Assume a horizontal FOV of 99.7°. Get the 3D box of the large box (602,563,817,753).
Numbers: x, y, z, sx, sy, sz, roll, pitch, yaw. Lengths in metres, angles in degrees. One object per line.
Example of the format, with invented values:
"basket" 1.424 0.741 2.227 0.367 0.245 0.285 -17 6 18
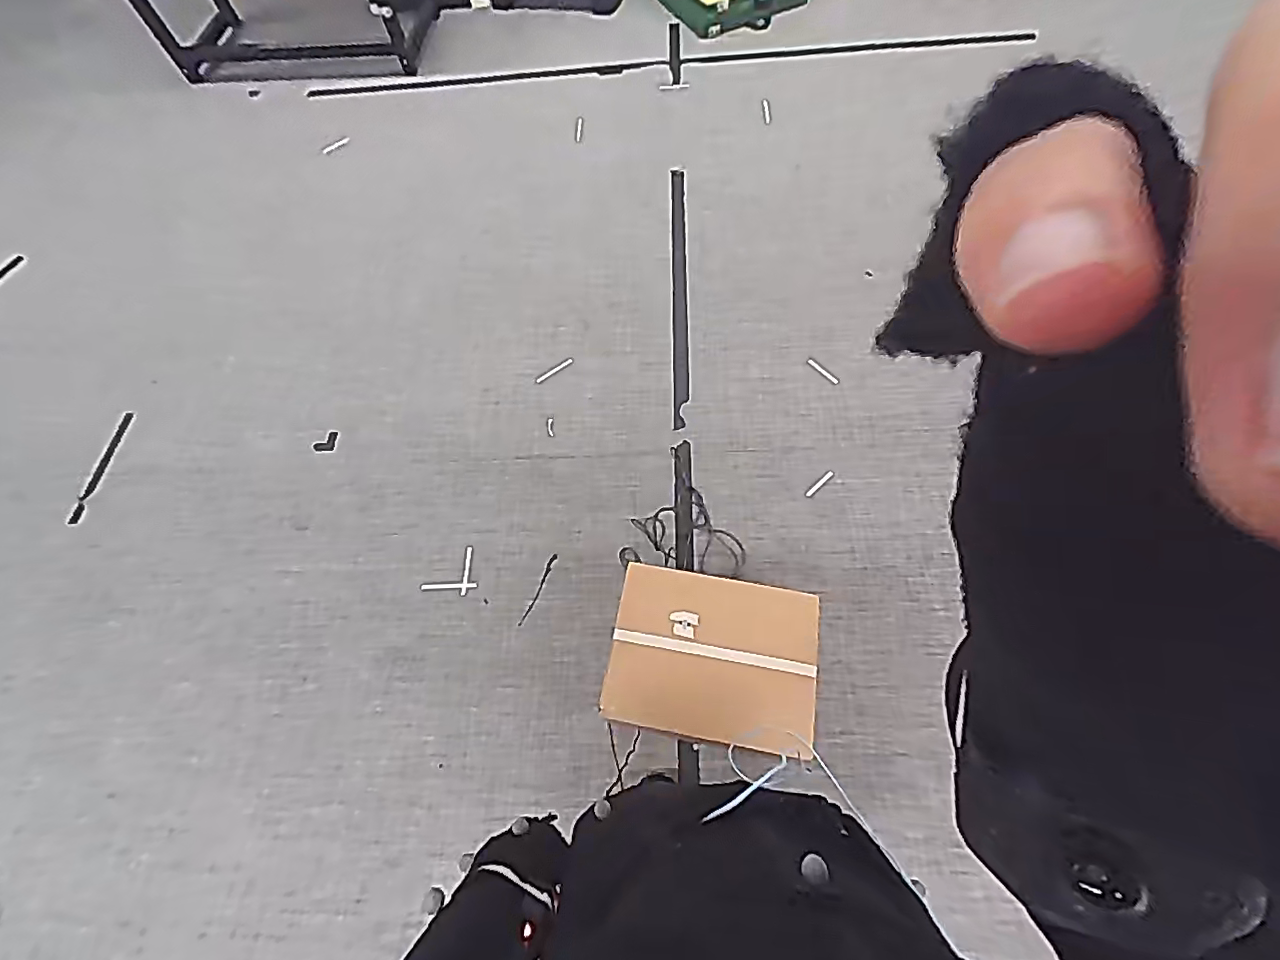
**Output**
"large box" 0.156 0.406 1.211 0.408 0.320 0.320 9 63 7
